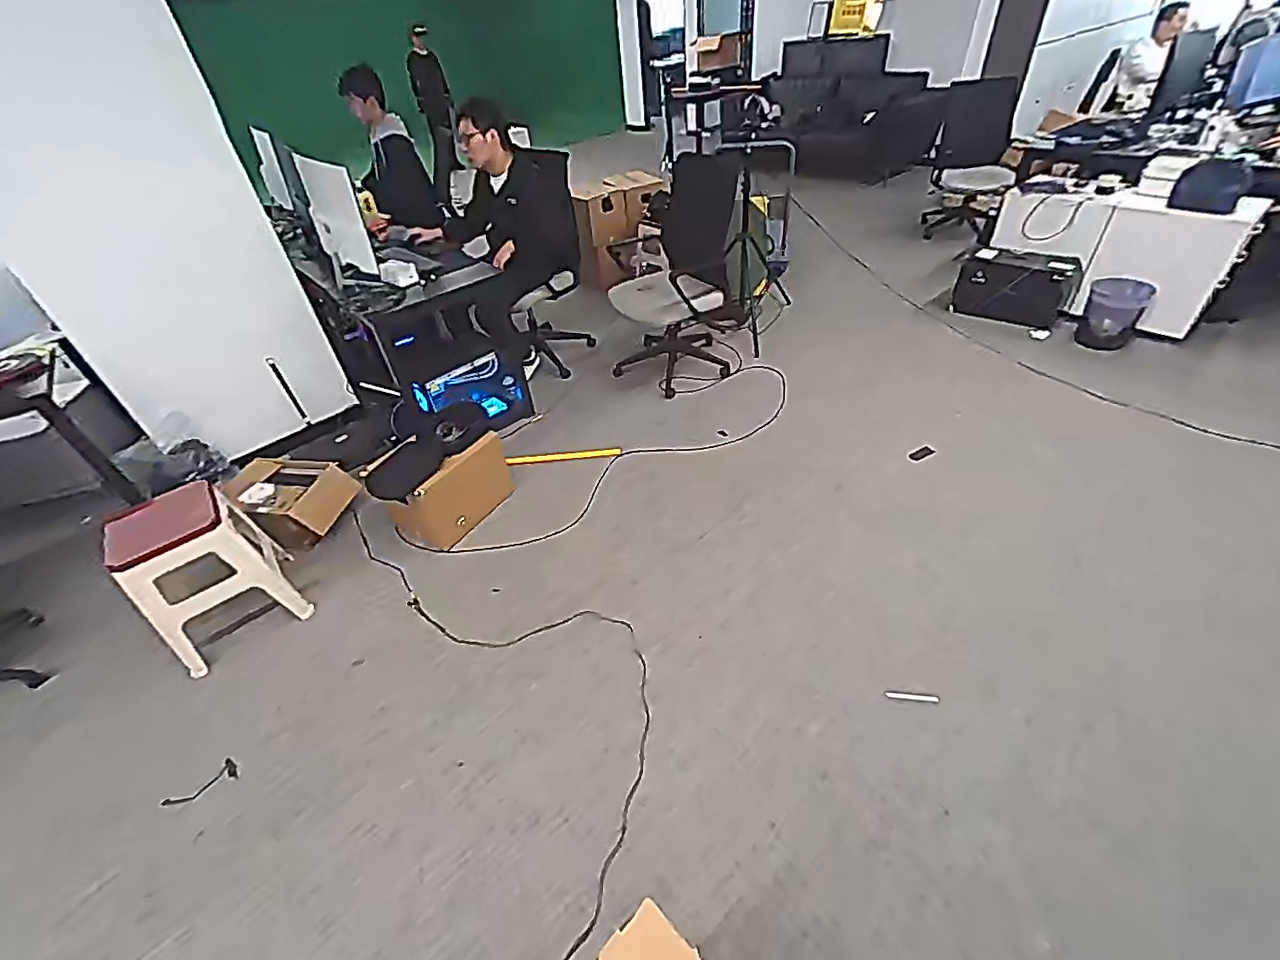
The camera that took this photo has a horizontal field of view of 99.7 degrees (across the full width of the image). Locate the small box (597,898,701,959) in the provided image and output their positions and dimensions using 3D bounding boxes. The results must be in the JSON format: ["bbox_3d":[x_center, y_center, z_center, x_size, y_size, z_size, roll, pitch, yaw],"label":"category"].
[{"bbox_3d":[0.022,0.783,0.799,0.168,0.176,0.179,-35,49,-30],"label":"small box"}]
